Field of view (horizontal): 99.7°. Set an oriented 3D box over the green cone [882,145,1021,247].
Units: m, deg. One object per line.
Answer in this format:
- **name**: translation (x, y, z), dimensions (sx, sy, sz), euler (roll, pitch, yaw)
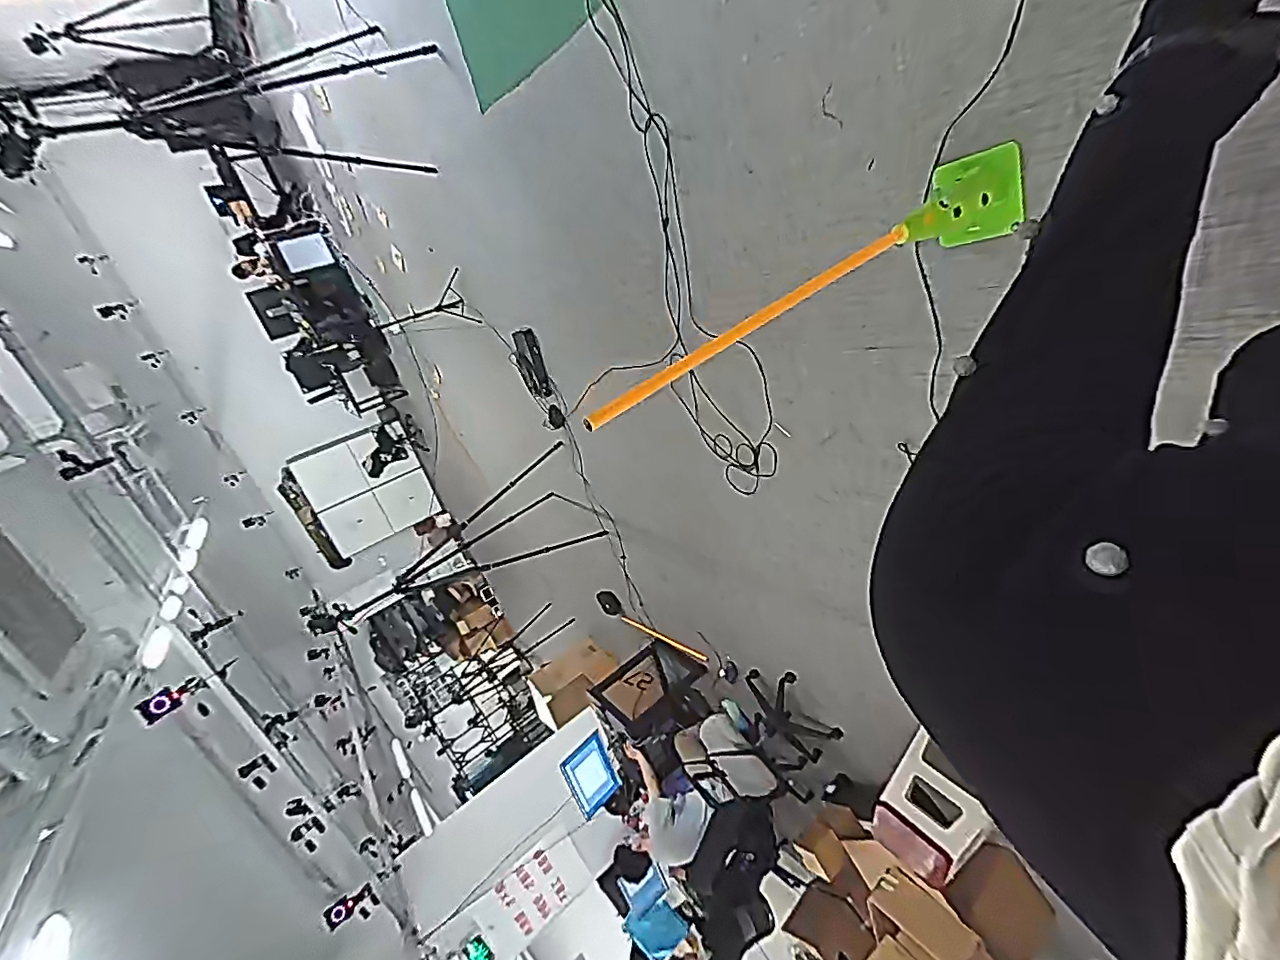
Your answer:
- **green cone**: translation (0.701, -0.627, 1.278), dimensions (0.202, 0.368, 0.200), euler (13, 128, 57)
